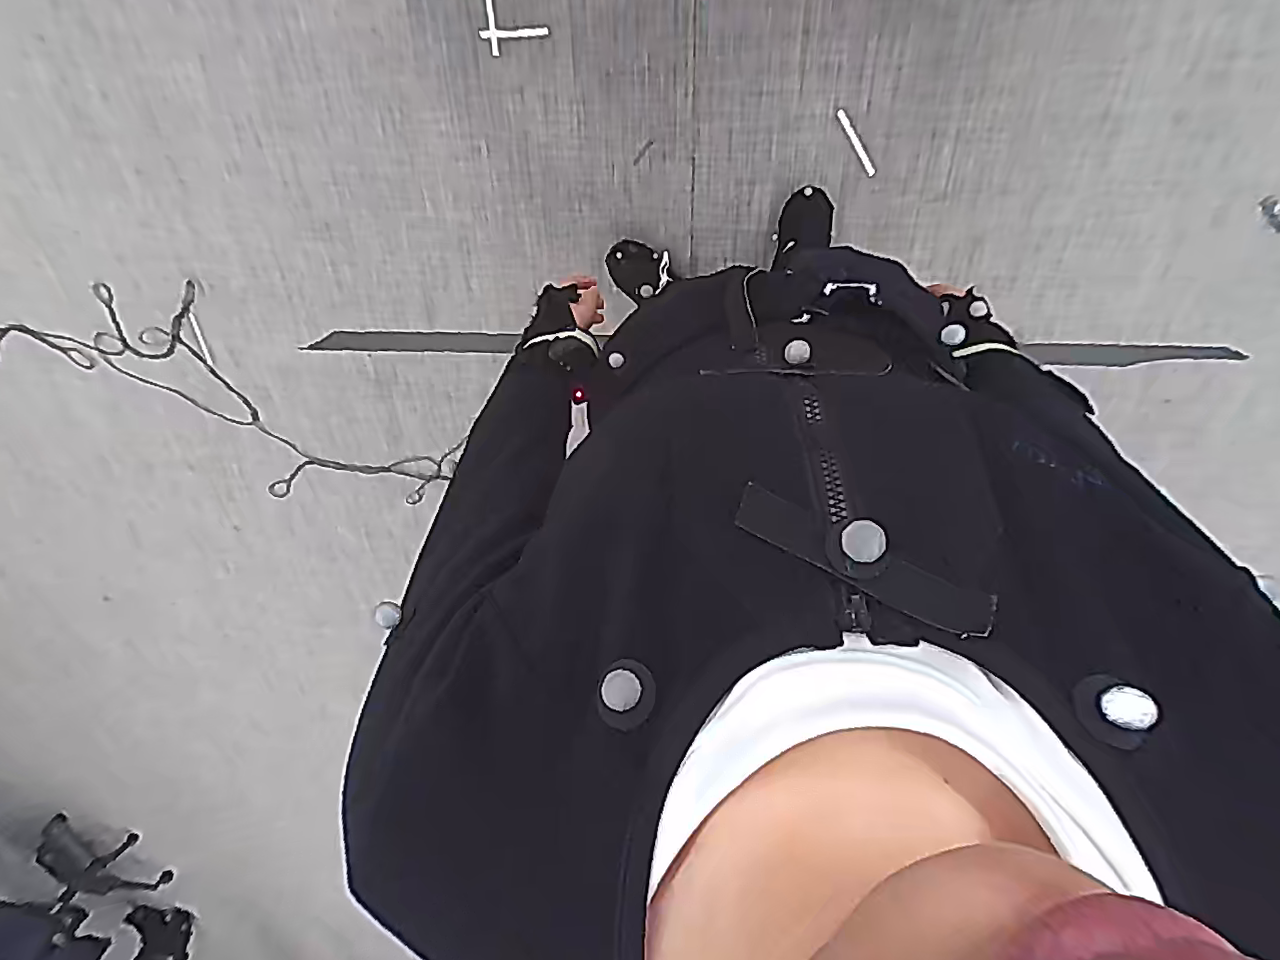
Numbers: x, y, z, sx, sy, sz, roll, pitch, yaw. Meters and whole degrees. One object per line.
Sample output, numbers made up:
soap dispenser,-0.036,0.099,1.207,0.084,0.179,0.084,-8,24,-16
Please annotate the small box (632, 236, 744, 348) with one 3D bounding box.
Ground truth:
small box,0.098,-0.399,1.149,0.179,0.176,0.168,-39,106,17
